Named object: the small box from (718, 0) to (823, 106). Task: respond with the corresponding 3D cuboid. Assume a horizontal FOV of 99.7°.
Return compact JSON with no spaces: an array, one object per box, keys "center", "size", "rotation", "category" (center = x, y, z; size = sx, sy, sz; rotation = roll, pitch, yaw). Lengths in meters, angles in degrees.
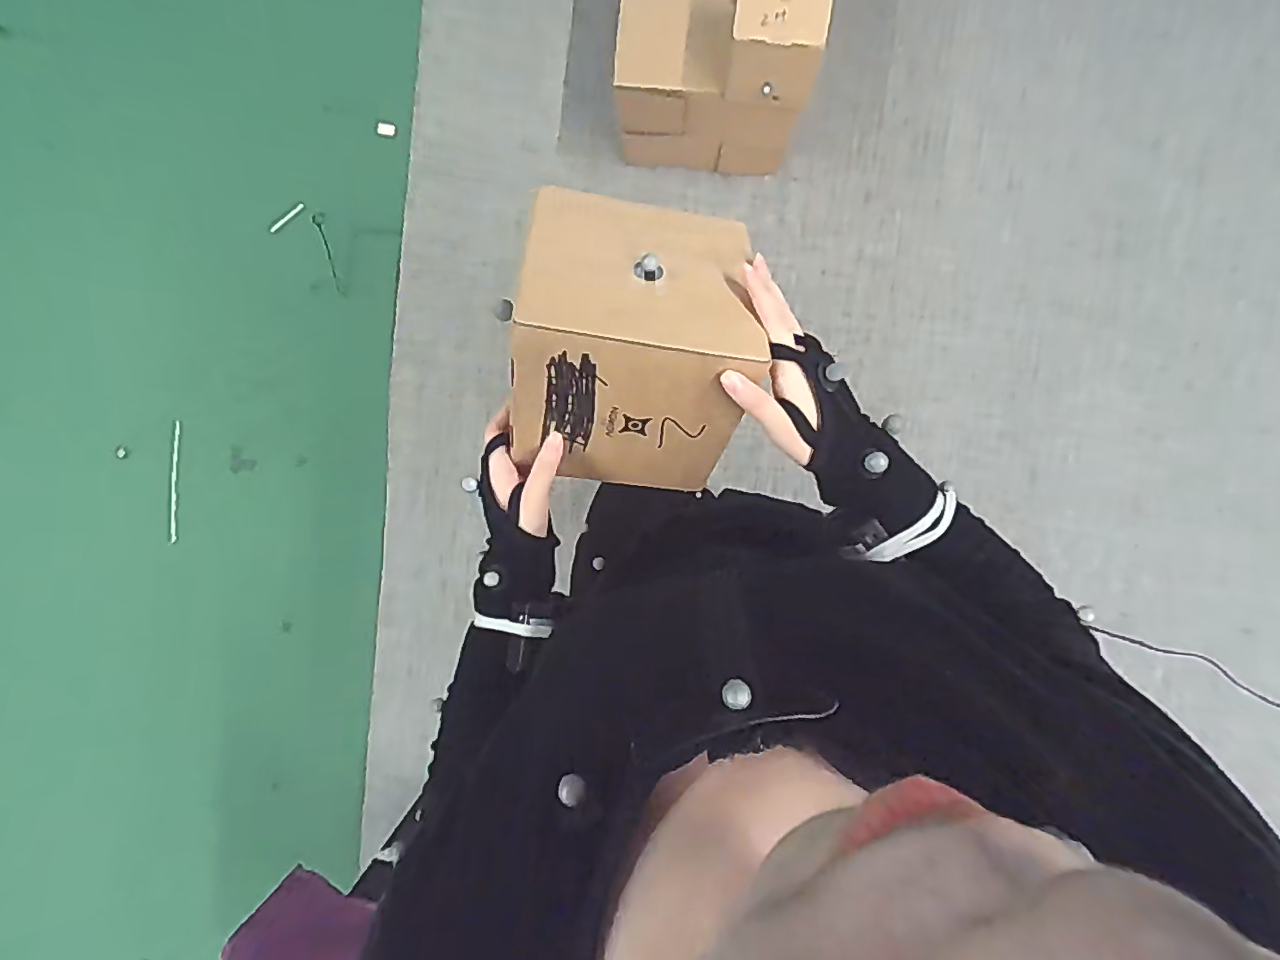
[{"center":[0.245,-0.860,1.028],"size":[0.168,0.176,0.179],"rotation":[8,94,3],"category":"small box"}]
